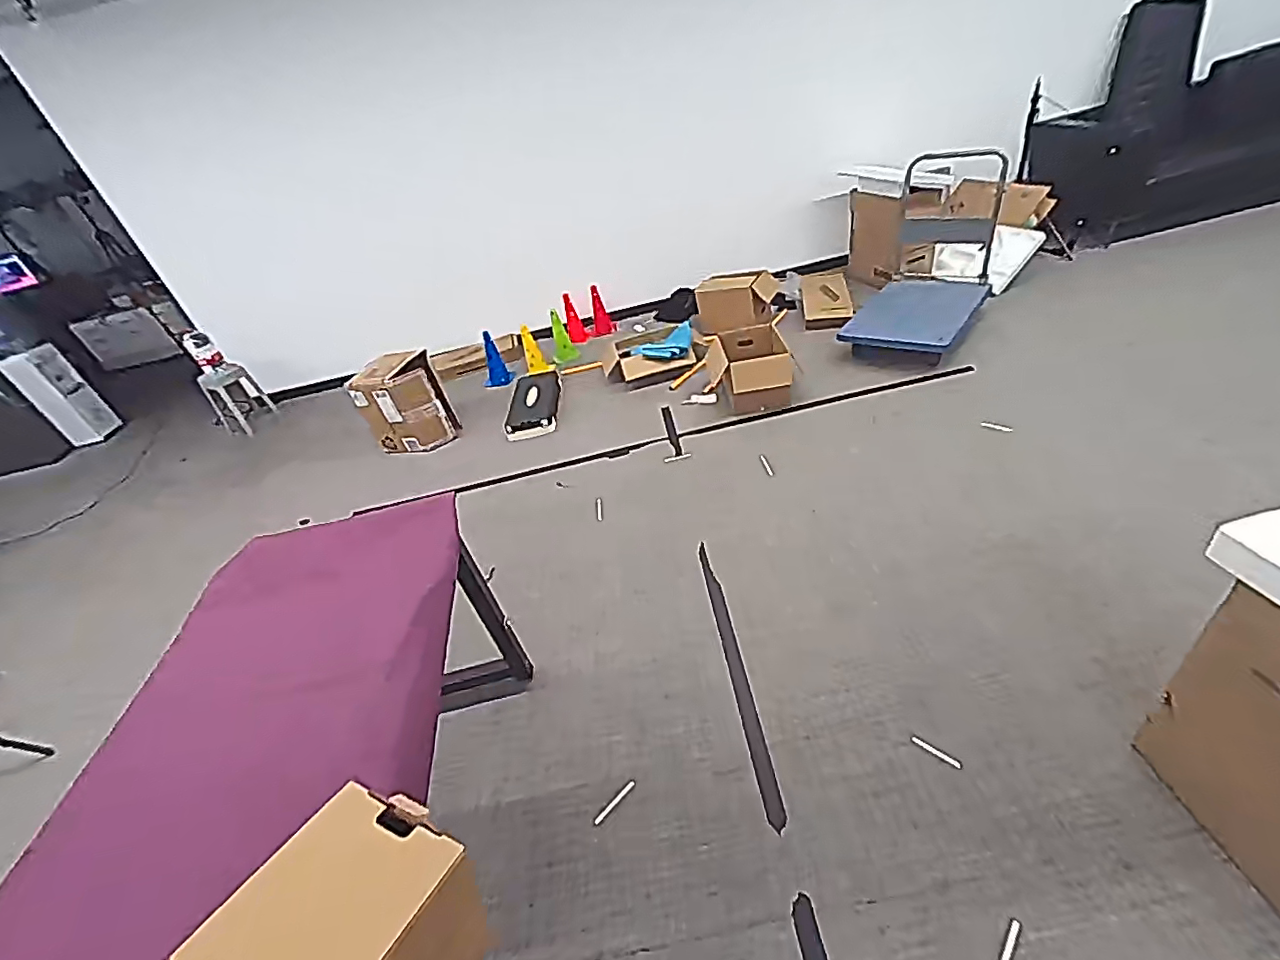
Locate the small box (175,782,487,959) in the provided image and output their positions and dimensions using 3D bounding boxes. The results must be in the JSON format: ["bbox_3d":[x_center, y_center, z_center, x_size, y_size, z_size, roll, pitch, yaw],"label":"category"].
[{"bbox_3d":[-0.268,0.441,0.508,0.168,0.176,0.179,10,28,26],"label":"small box"}]
